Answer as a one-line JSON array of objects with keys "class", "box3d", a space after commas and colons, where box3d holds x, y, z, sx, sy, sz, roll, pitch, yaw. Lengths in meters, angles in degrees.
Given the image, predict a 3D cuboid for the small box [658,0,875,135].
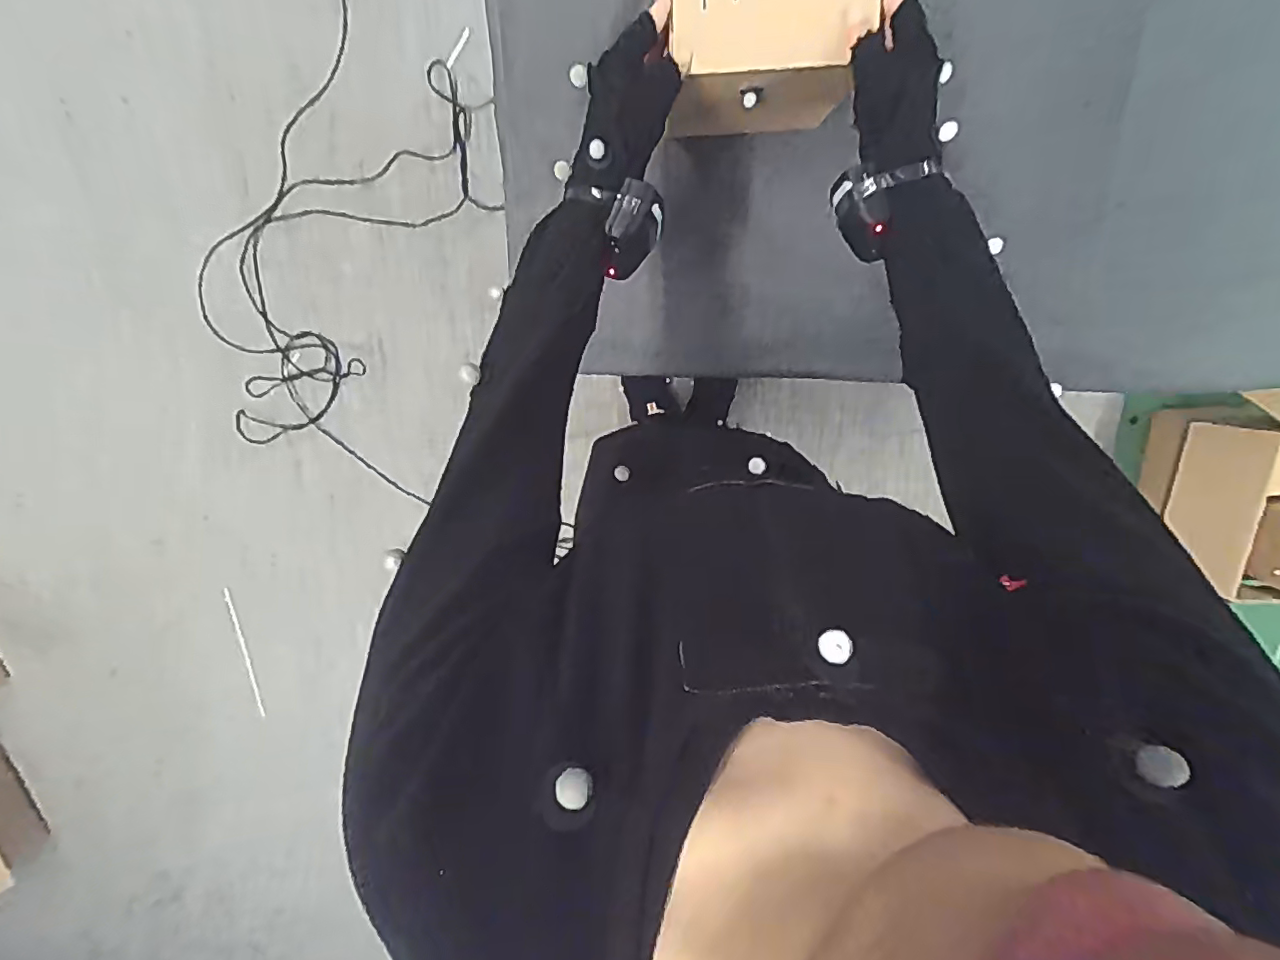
[{"class": "small box", "box3d": [0.105, -0.446, 0.510, 0.179, 0.176, 0.168, -3, 107, 1]}]
